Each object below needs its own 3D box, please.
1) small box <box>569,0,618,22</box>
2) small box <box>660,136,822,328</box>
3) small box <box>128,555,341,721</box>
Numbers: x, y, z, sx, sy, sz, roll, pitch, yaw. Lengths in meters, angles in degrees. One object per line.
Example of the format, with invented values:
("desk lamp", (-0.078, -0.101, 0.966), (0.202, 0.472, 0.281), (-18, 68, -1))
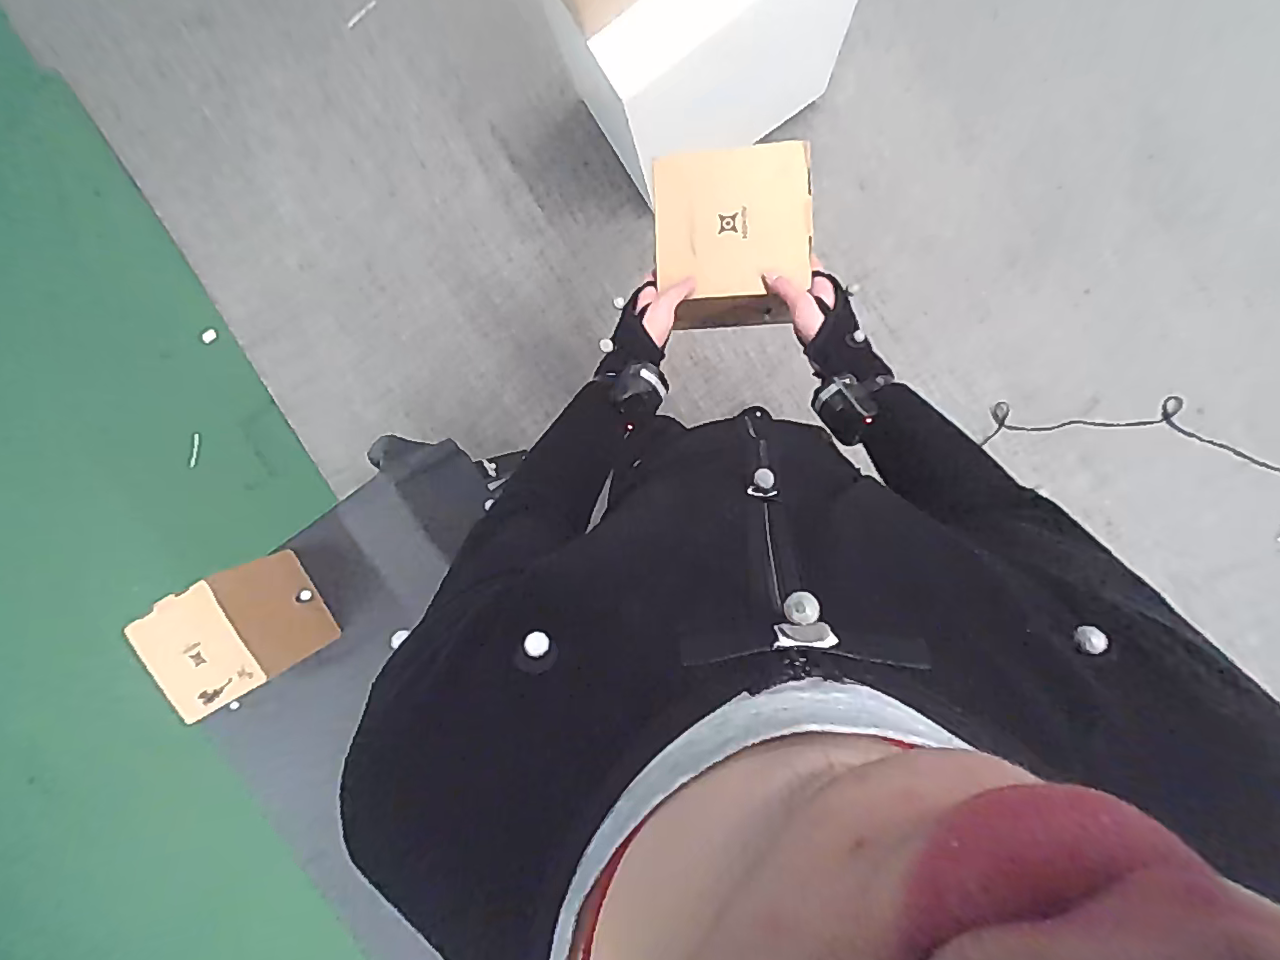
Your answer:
("small box", (-0.066, -0.825, 0.771), (0.179, 0.176, 0.168), (-32, 94, 8))
("small box", (0.122, -0.294, 0.679), (0.179, 0.176, 0.168), (-2, 93, 9))
("small box", (-0.630, 0.236, 0.863), (0.168, 0.176, 0.179), (-29, 94, 10))
